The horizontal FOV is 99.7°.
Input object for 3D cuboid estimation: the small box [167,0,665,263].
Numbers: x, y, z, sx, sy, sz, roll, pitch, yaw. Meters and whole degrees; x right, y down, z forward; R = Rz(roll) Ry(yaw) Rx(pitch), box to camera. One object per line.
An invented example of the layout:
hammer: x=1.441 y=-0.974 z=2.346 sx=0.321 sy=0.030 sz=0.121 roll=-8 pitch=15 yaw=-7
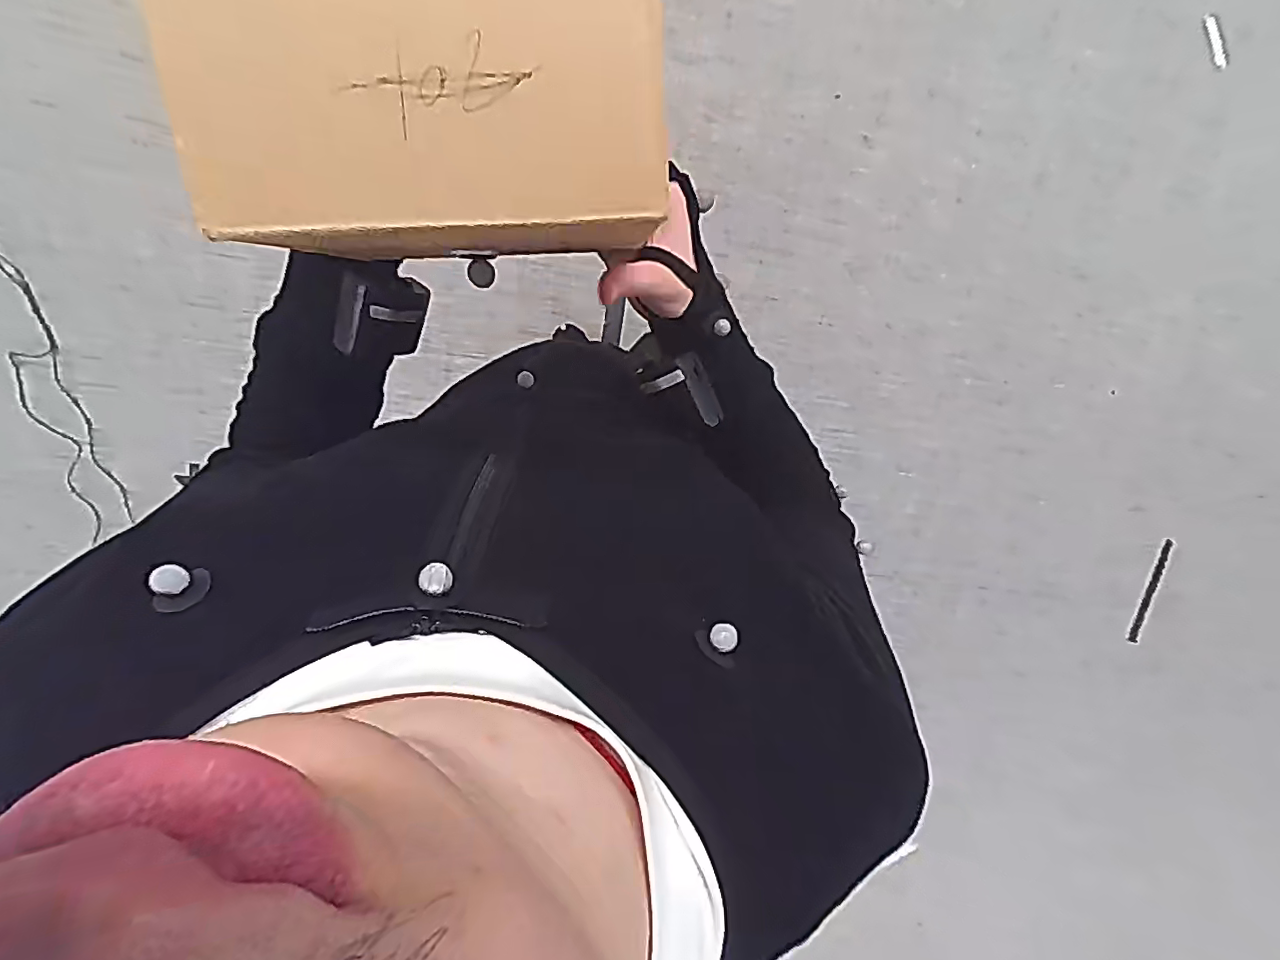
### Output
small box: x=-0.080 y=-0.203 z=0.254 sx=0.168 sy=0.176 sz=0.179 roll=-3 pitch=110 yaw=-3
